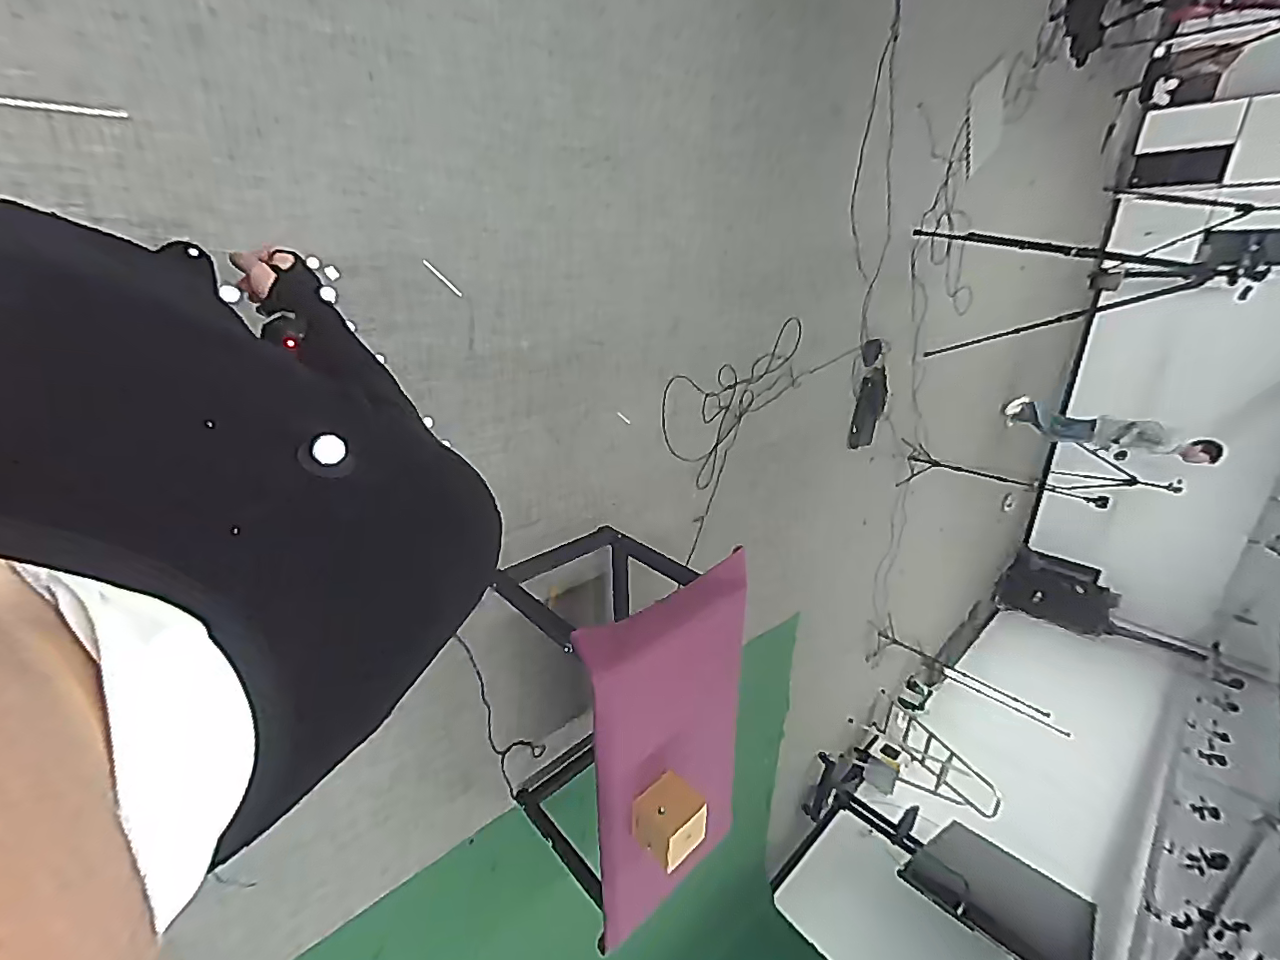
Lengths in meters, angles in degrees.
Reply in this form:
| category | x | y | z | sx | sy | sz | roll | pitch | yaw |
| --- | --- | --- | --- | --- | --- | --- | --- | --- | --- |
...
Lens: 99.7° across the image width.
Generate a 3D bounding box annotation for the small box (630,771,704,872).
| category | x | y | z | sx | sy | sz | roll | pitch | yaw |
| --- | --- | --- | --- | --- | --- | --- | --- | --- | --- |
| small box | 0.083 | 1.092 | 1.740 | 0.179 | 0.176 | 0.168 | -18 | 119 | -41 |
